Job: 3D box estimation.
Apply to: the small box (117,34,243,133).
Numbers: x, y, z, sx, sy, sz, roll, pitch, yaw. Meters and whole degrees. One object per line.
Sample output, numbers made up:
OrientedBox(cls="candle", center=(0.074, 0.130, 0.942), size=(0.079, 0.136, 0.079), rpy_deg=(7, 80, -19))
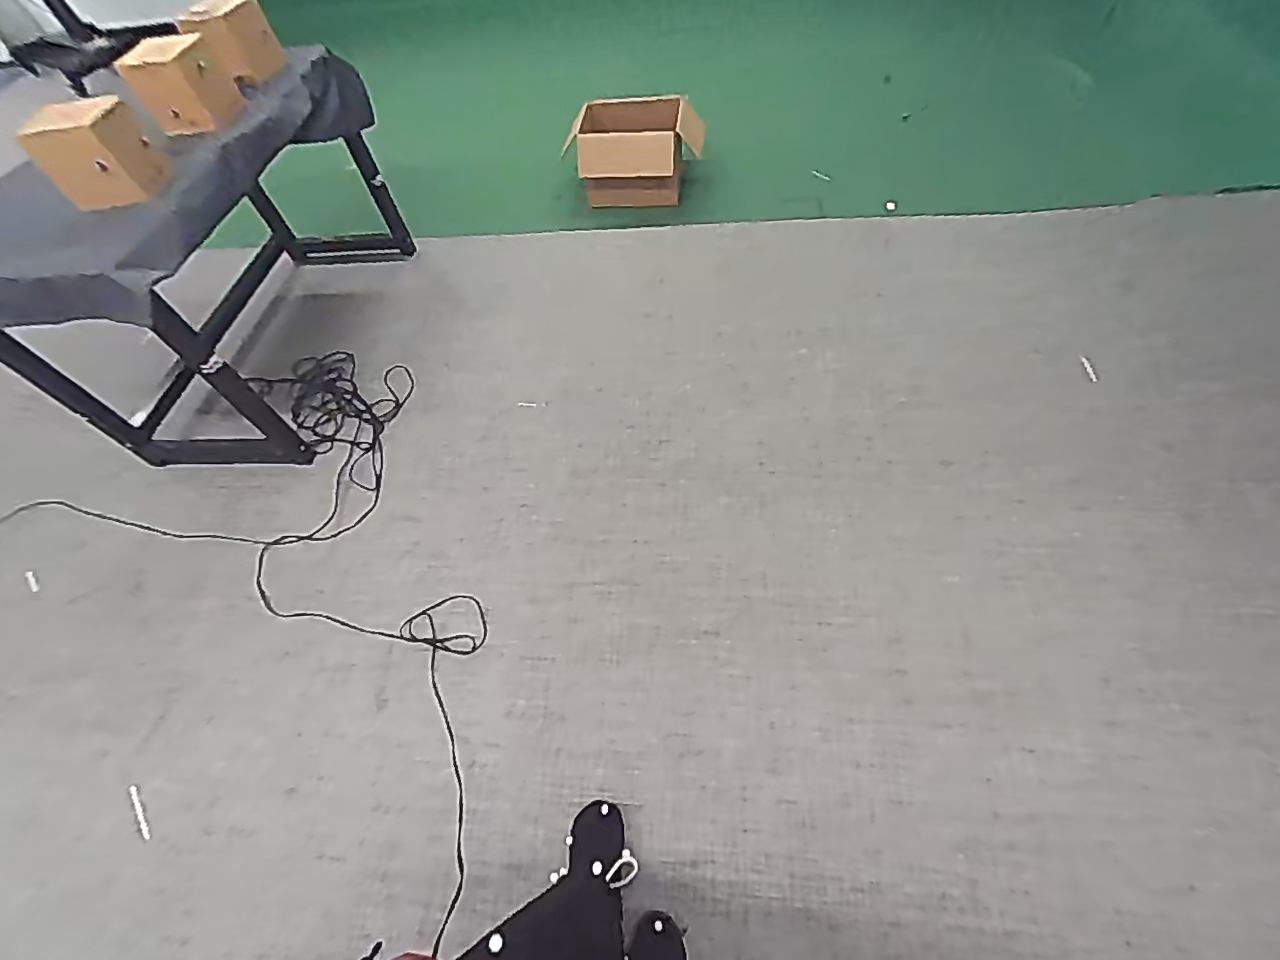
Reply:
OrientedBox(cls="small box", center=(-1.234, -1.077, 1.472), size=(0.168, 0.176, 0.179), rpy_deg=(-2, 57, 5))

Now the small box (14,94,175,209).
OrientedBox(cls="small box", center=(-1.256, -0.765, 1.265), size=(0.179, 0.176, 0.168), rpy_deg=(-9, 54, 1))
